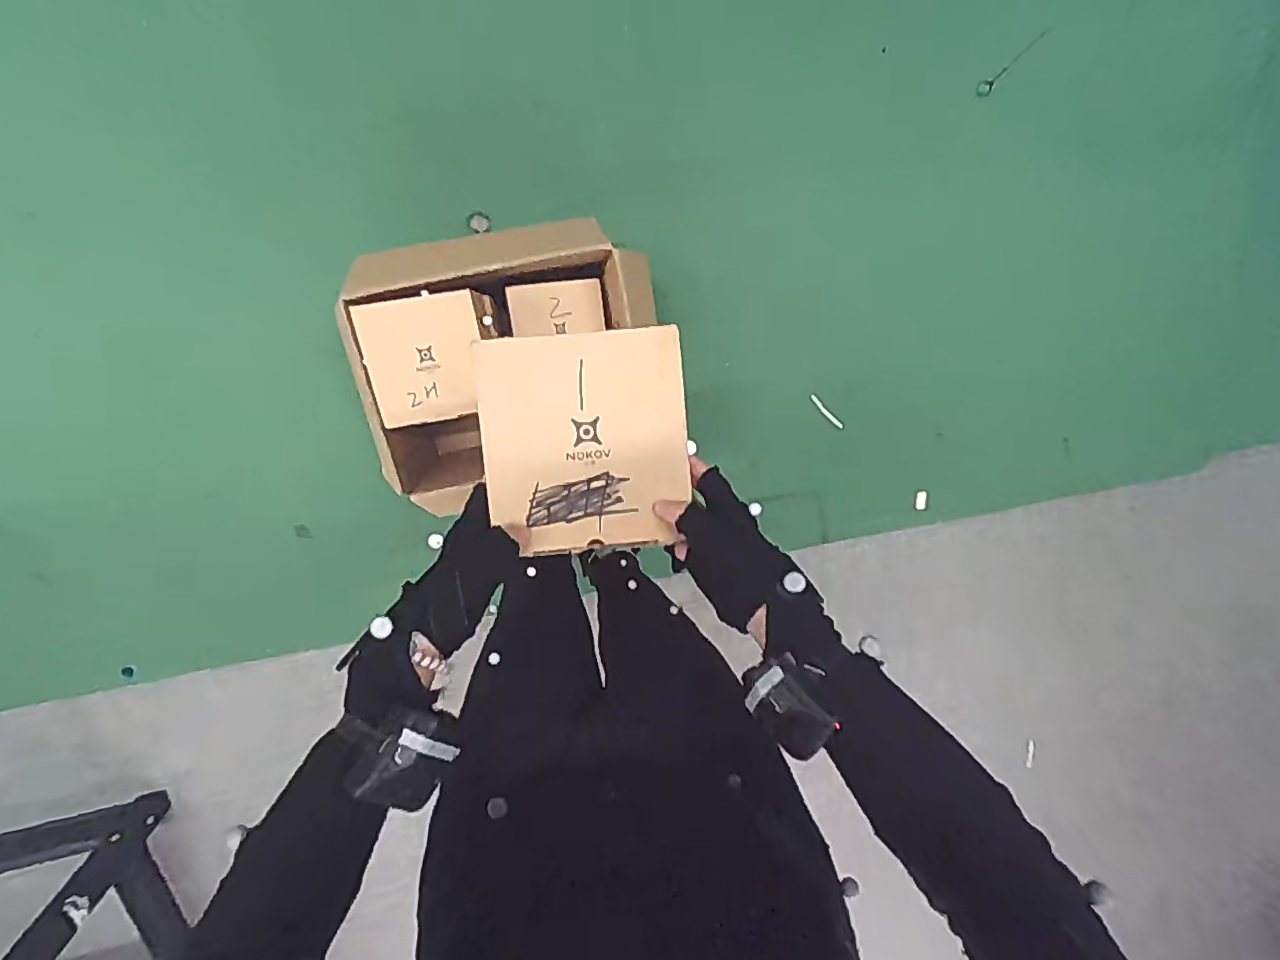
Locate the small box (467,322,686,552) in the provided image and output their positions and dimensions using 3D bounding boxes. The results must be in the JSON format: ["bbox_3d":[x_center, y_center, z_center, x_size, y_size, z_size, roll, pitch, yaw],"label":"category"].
[{"bbox_3d":[-0.052,-0.041,0.514,0.168,0.176,0.179,-6,94,-3],"label":"small box"}]
